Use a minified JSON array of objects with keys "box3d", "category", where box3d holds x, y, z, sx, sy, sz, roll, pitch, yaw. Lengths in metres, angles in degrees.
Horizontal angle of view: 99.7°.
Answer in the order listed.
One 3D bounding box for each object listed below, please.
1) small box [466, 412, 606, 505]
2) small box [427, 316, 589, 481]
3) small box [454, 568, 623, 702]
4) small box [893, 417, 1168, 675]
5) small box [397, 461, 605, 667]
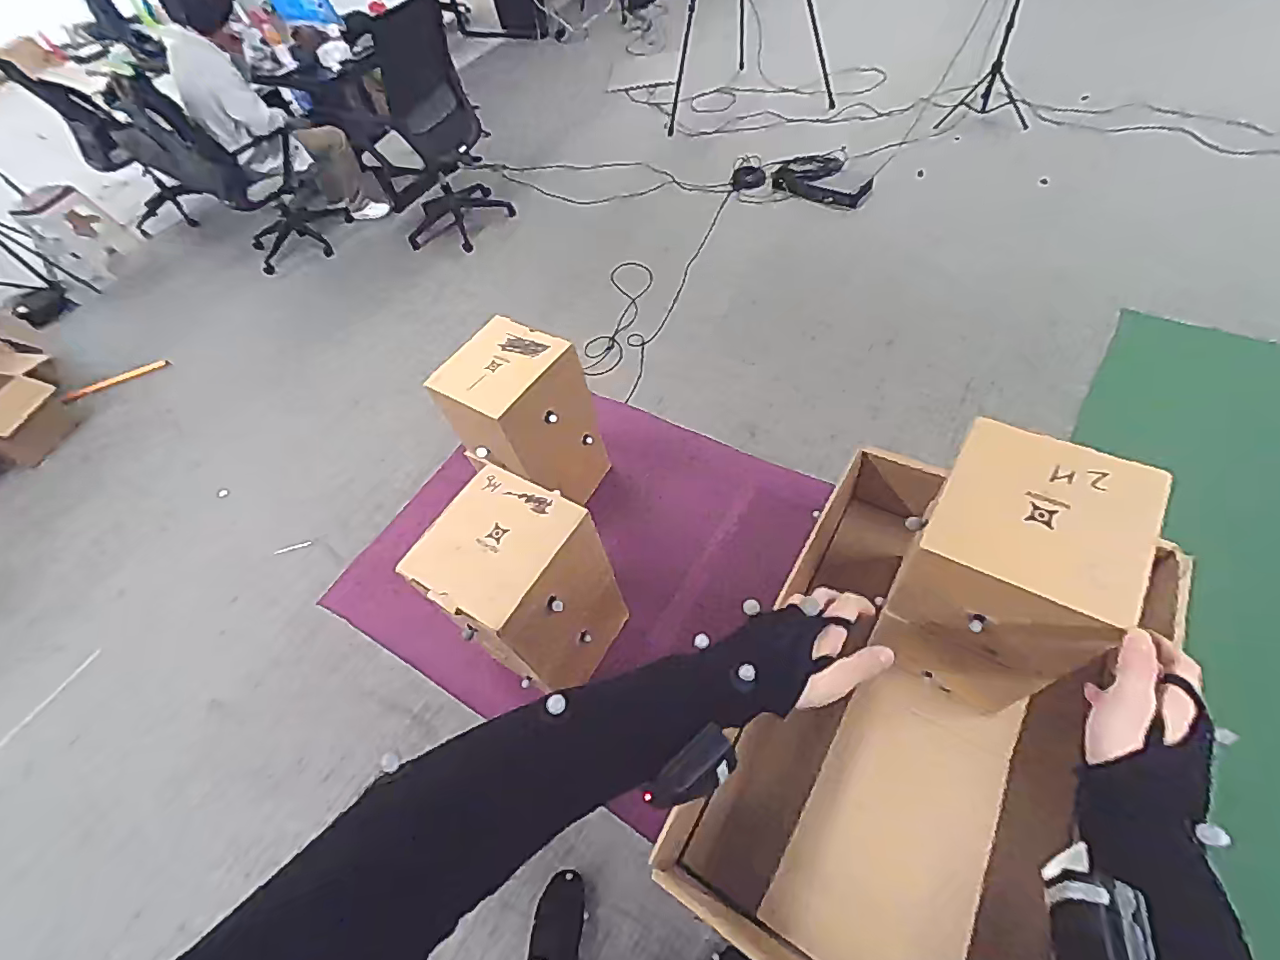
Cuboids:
[{"box3d":[-0.183,-0.037,1.017,0.168,0.176,0.179,22,61,24],"category":"small box"},{"box3d":[-0.201,-0.131,0.883,0.168,0.176,0.179,26,64,26],"category":"small box"},{"box3d":[-0.142,0.210,0.833,0.168,0.176,0.179,24,60,24],"category":"small box"},{"box3d":[0.382,0.072,0.560,0.168,0.176,0.179,26,64,26],"category":"small box"},{"box3d":[-0.163,0.113,0.702,0.168,0.176,0.179,24,62,23],"category":"small box"}]
